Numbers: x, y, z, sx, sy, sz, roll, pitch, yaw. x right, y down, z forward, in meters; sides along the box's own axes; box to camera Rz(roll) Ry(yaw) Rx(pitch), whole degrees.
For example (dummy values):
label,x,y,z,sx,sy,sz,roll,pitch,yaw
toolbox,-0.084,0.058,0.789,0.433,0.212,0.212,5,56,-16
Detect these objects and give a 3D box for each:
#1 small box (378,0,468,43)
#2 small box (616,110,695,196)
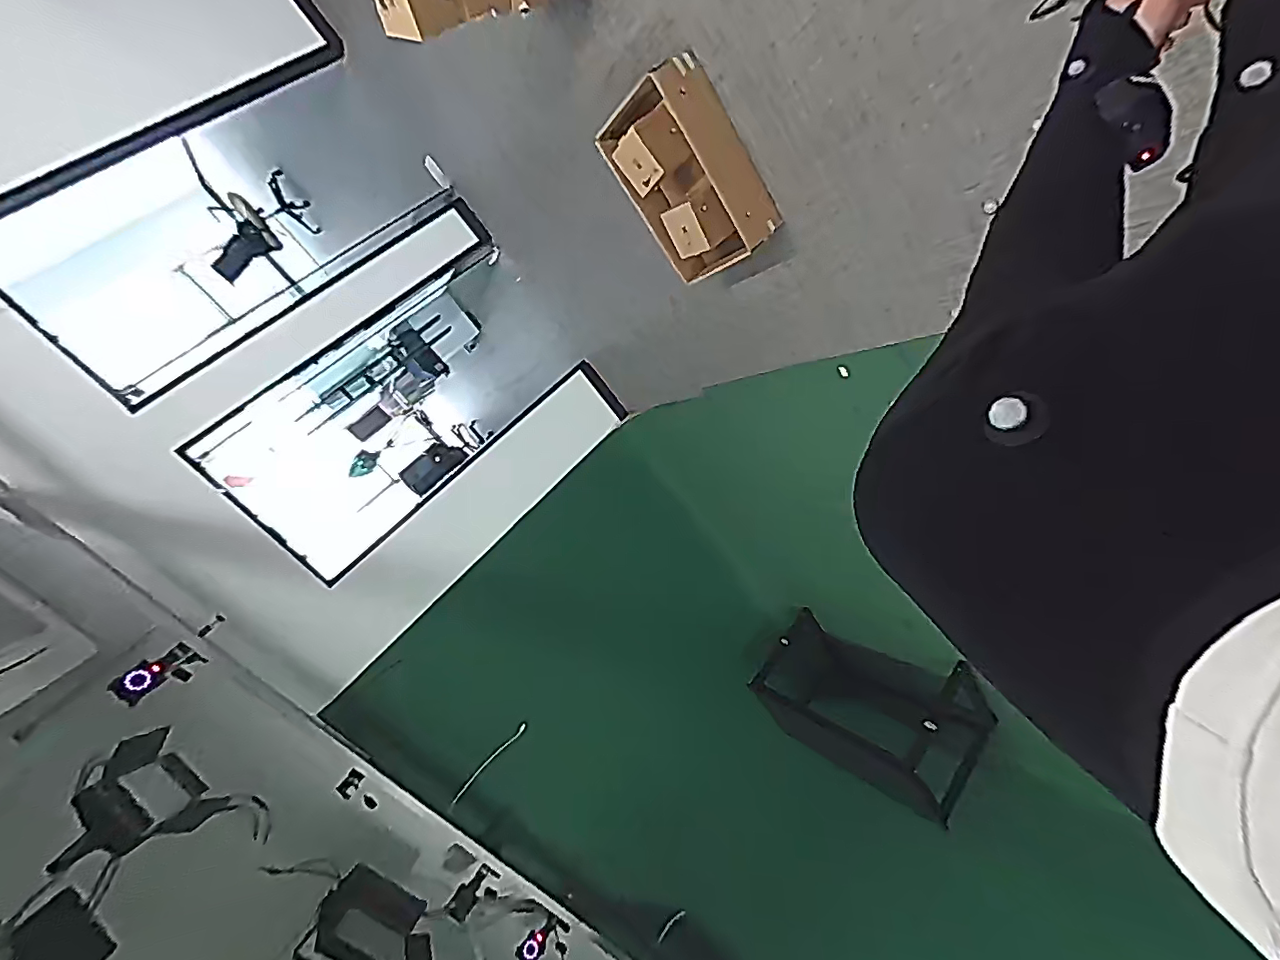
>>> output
label,x,y,z,sx,sy,sz,roll,pitch,yaw
small box,-0.610,-1.344,1.486,0.179,0.176,0.168,31,156,26
small box,0.055,-1.133,1.863,0.179,0.176,0.168,50,158,-15
